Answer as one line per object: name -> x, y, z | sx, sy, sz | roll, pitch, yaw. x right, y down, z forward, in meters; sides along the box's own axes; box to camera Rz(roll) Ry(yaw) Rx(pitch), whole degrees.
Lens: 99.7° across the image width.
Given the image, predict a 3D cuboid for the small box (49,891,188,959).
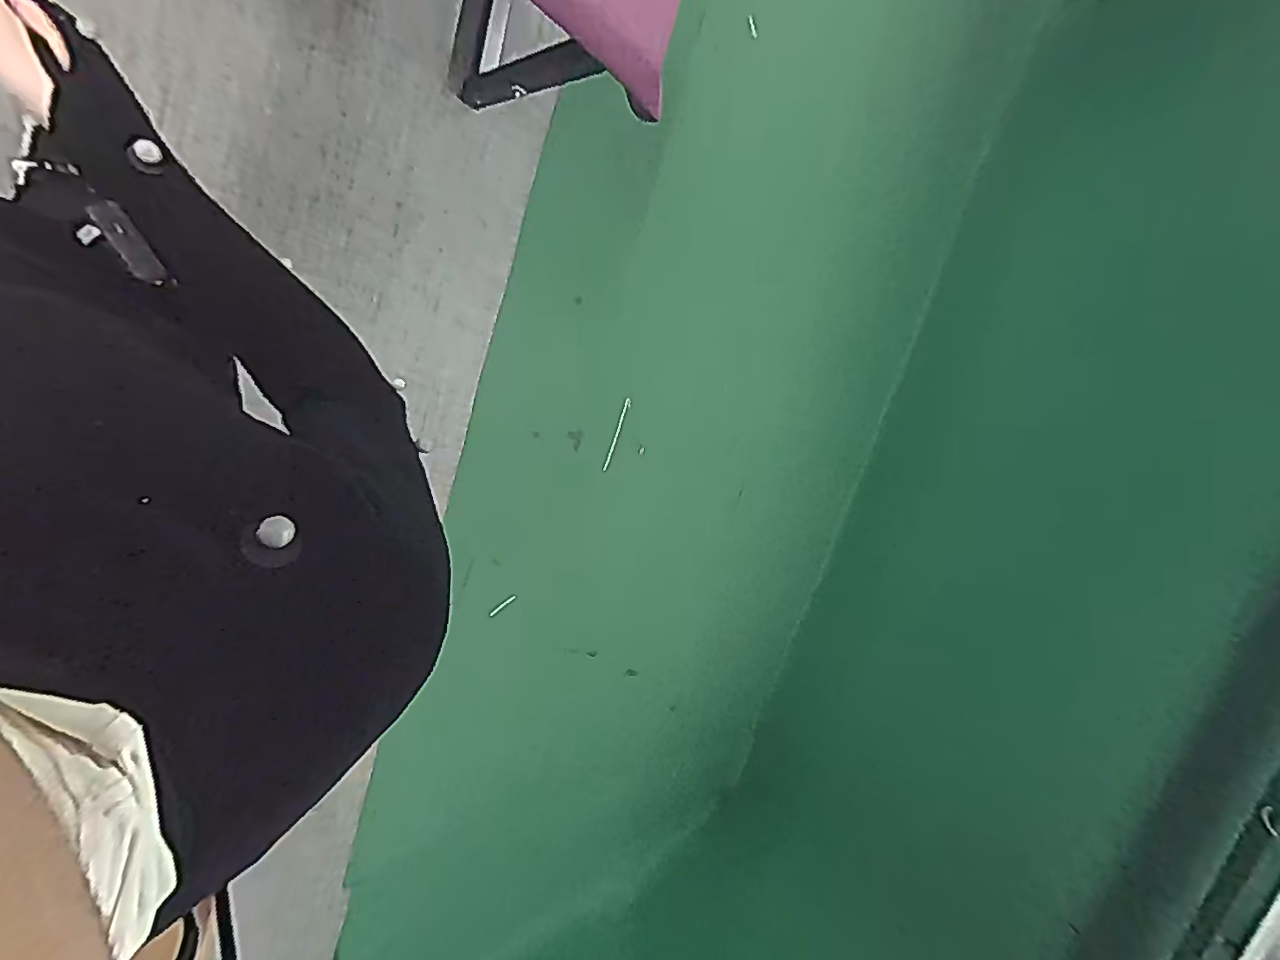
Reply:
small box -> -0.921, 0.883, 0.945 | 0.168, 0.176, 0.179 | 13, 99, -49
